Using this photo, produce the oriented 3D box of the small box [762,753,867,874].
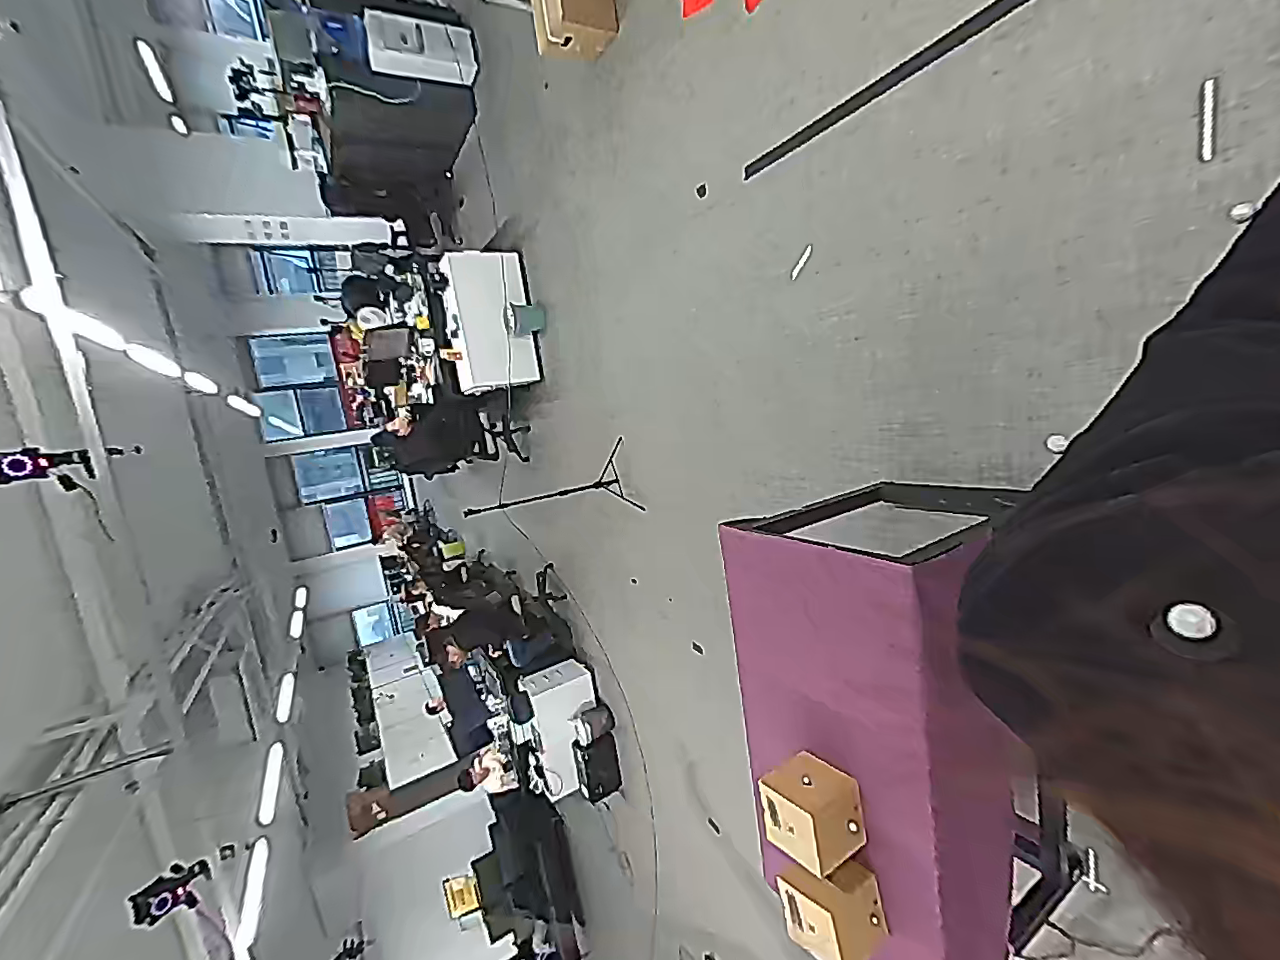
[{"bbox_3d":[0.434,0.816,1.349,0.179,0.176,0.168,-1,102,60],"label":"small box"}]
